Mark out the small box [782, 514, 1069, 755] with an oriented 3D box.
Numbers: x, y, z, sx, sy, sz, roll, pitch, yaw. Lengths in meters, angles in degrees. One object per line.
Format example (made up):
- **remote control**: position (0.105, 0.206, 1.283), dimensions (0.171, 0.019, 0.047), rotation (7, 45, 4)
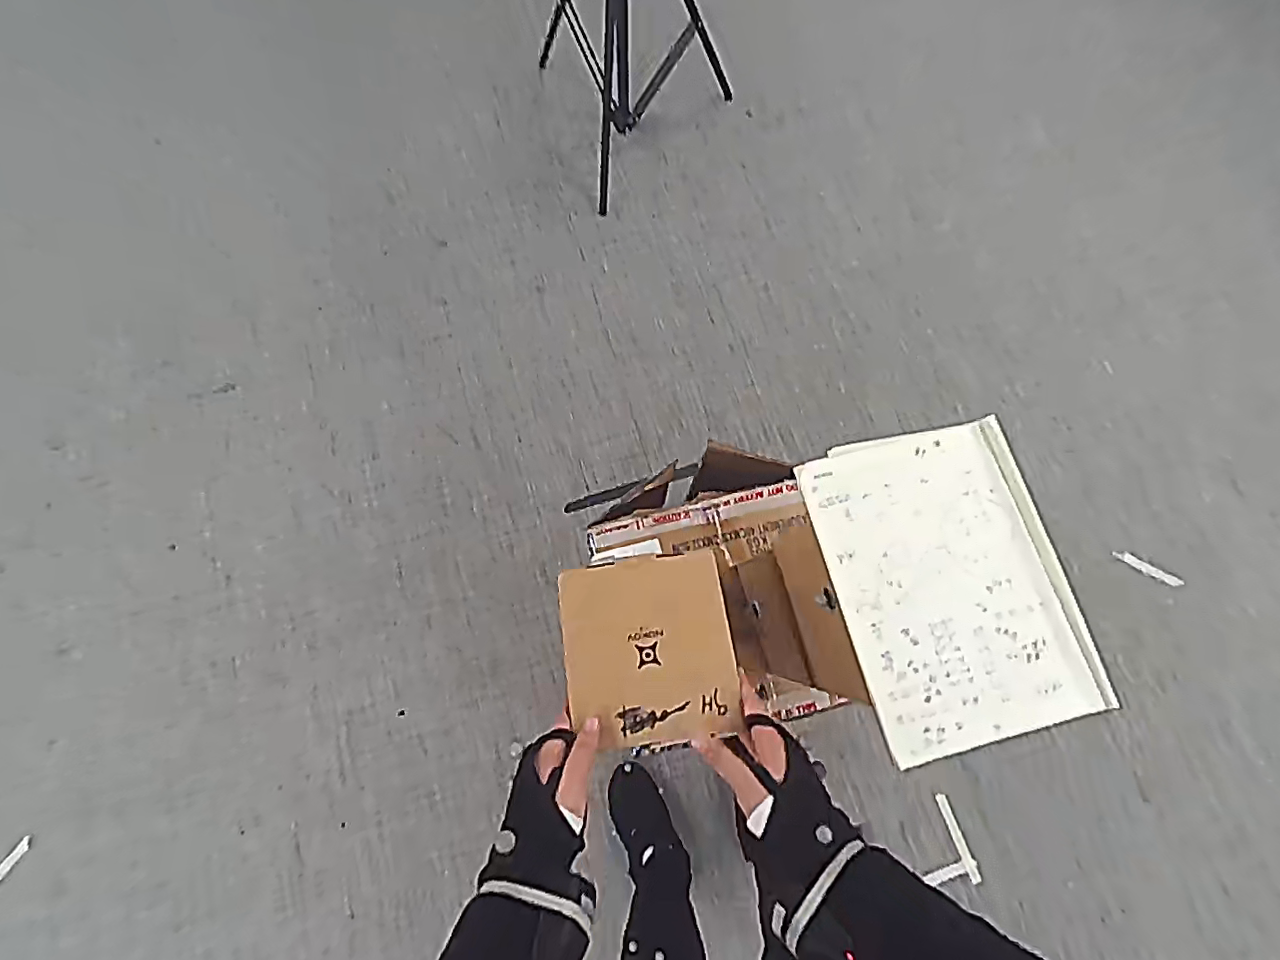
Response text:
- **small box**: position (0.263, 0.149, 0.547), dimensions (0.168, 0.176, 0.179), rotation (-13, 77, -6)
